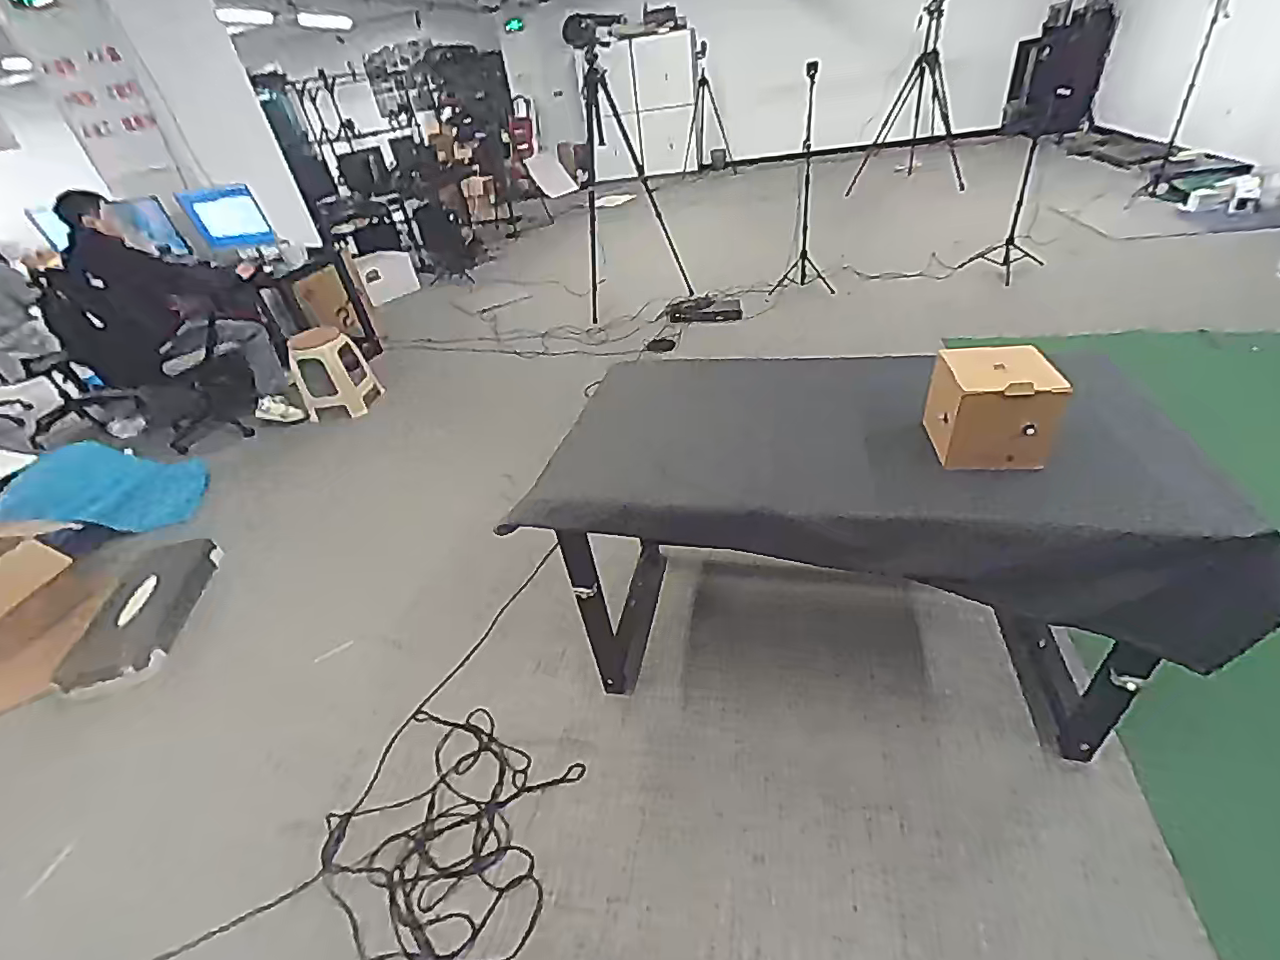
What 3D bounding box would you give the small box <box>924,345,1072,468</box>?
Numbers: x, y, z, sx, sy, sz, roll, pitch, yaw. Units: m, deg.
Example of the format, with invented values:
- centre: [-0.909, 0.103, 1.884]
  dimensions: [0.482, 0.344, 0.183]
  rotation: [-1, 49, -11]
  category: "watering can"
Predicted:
- centre: [0.646, -0.134, 1.002]
  dimensions: [0.168, 0.176, 0.179]
  rotation: [1, 36, 11]
  category: "small box"
